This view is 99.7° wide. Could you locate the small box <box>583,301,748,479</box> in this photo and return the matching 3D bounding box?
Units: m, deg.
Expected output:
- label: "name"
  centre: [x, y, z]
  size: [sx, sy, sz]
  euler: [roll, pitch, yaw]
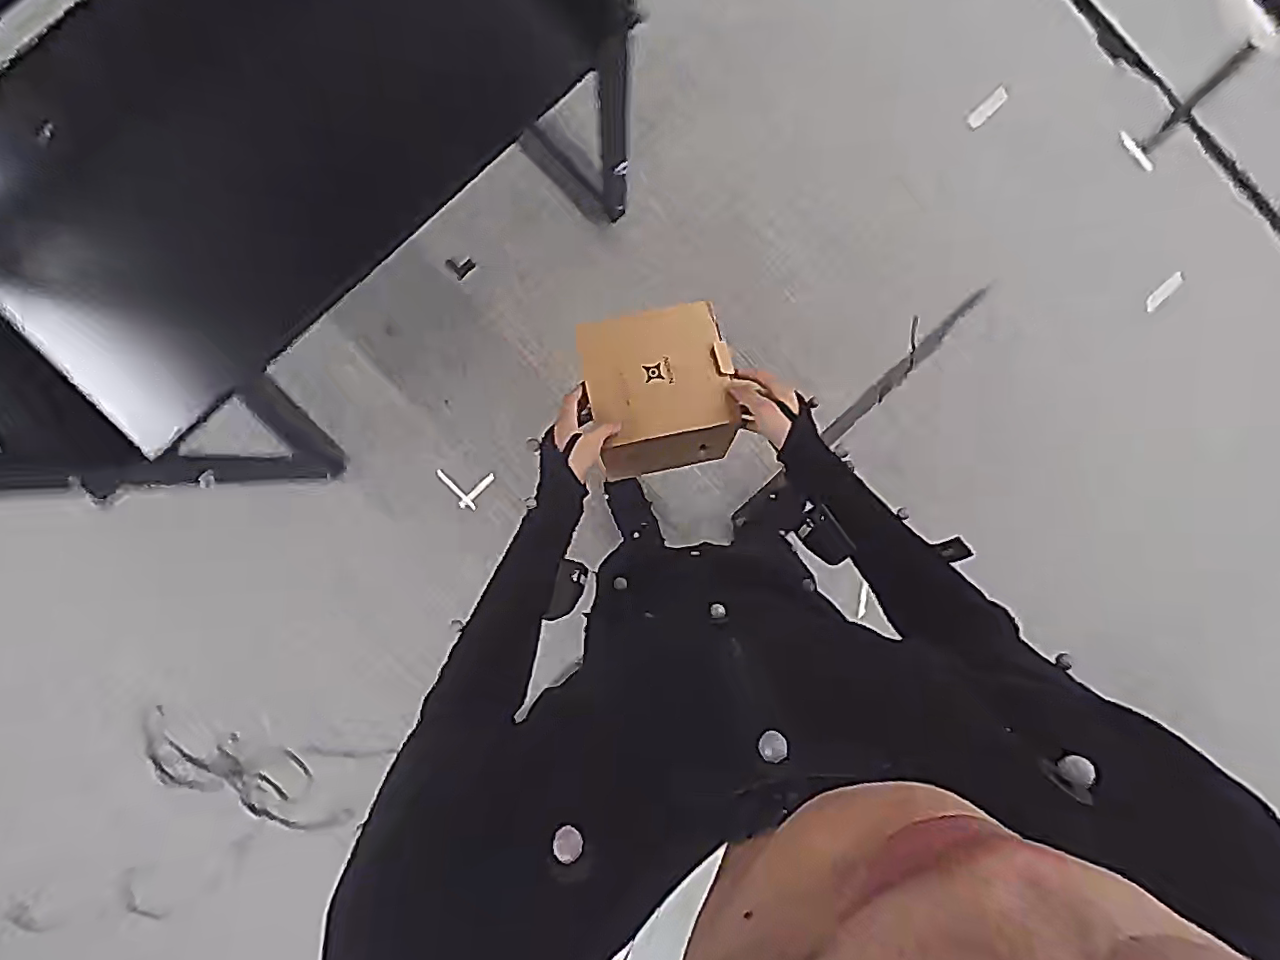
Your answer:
- label: "small box"
  centre: [0.028, -0.110, 0.721]
  size: [0.179, 0.176, 0.168]
  euler: [-10, 76, -2]
